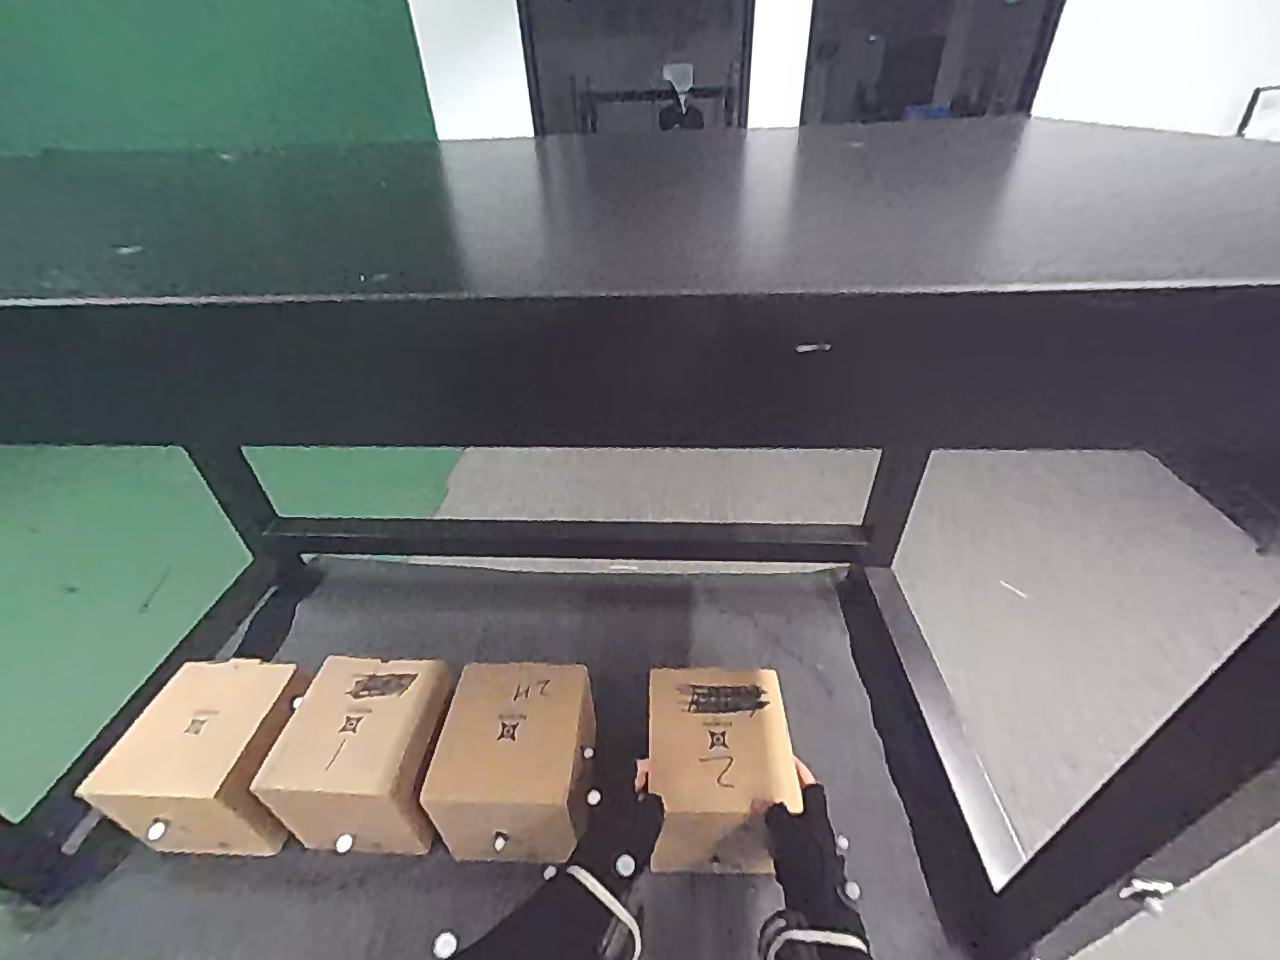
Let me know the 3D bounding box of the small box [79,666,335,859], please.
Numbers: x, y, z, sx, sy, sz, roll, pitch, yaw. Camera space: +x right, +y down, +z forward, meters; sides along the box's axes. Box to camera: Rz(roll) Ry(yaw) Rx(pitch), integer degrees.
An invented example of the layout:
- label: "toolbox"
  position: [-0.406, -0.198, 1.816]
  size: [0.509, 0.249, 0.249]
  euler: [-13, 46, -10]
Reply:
- label: "small box"
  position: [-0.540, 0.370, 0.713]
  size: [0.168, 0.176, 0.179]
  euler: [0, 35, 3]
